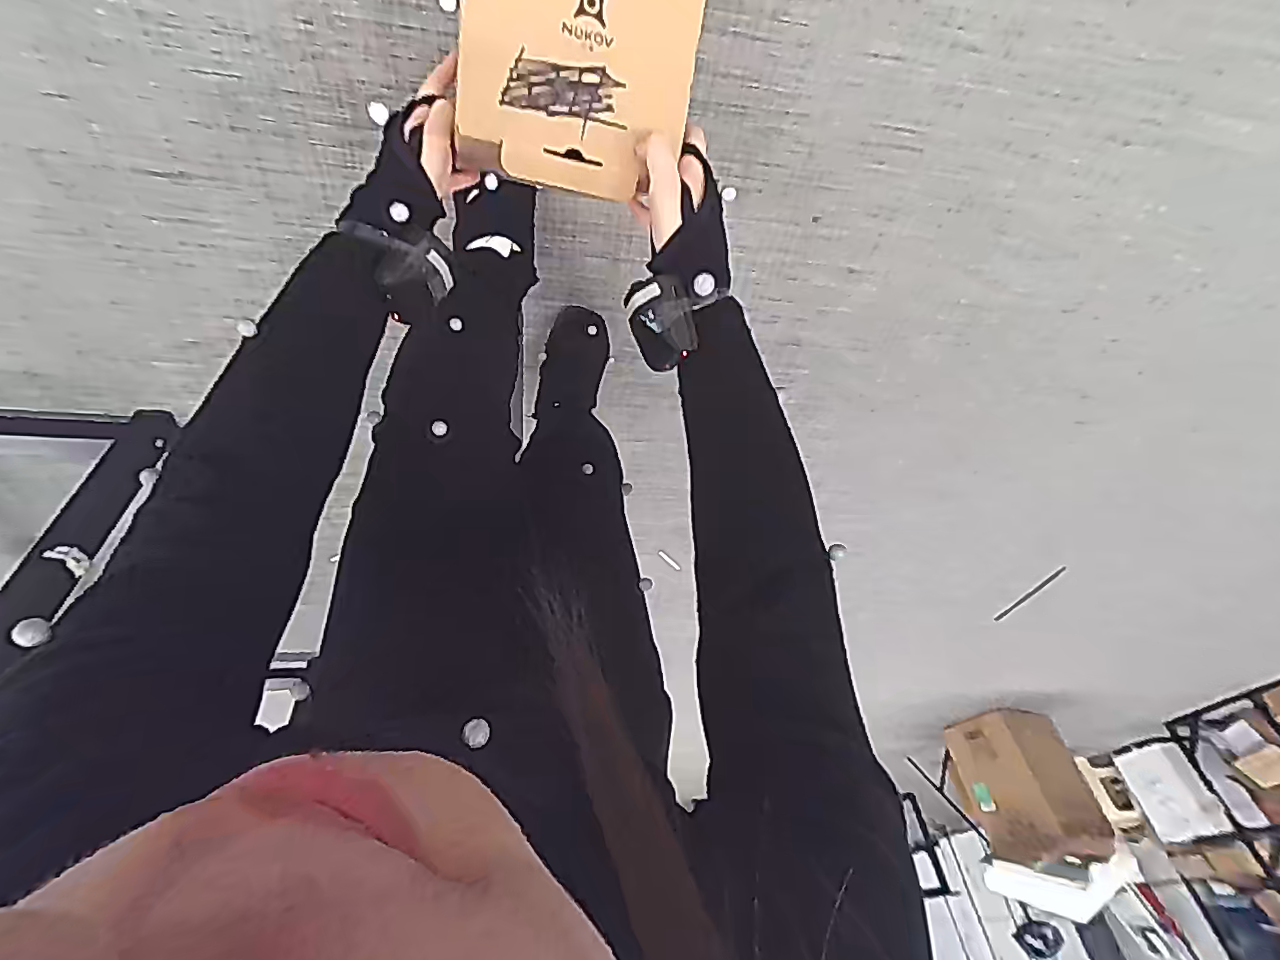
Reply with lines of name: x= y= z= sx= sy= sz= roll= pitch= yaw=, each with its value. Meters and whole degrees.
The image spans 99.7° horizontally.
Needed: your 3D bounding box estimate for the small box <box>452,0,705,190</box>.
small box: x=-0.058 y=-0.350 z=0.433 sx=0.168 sy=0.176 sz=0.179 roll=3 pitch=109 yaw=-20
